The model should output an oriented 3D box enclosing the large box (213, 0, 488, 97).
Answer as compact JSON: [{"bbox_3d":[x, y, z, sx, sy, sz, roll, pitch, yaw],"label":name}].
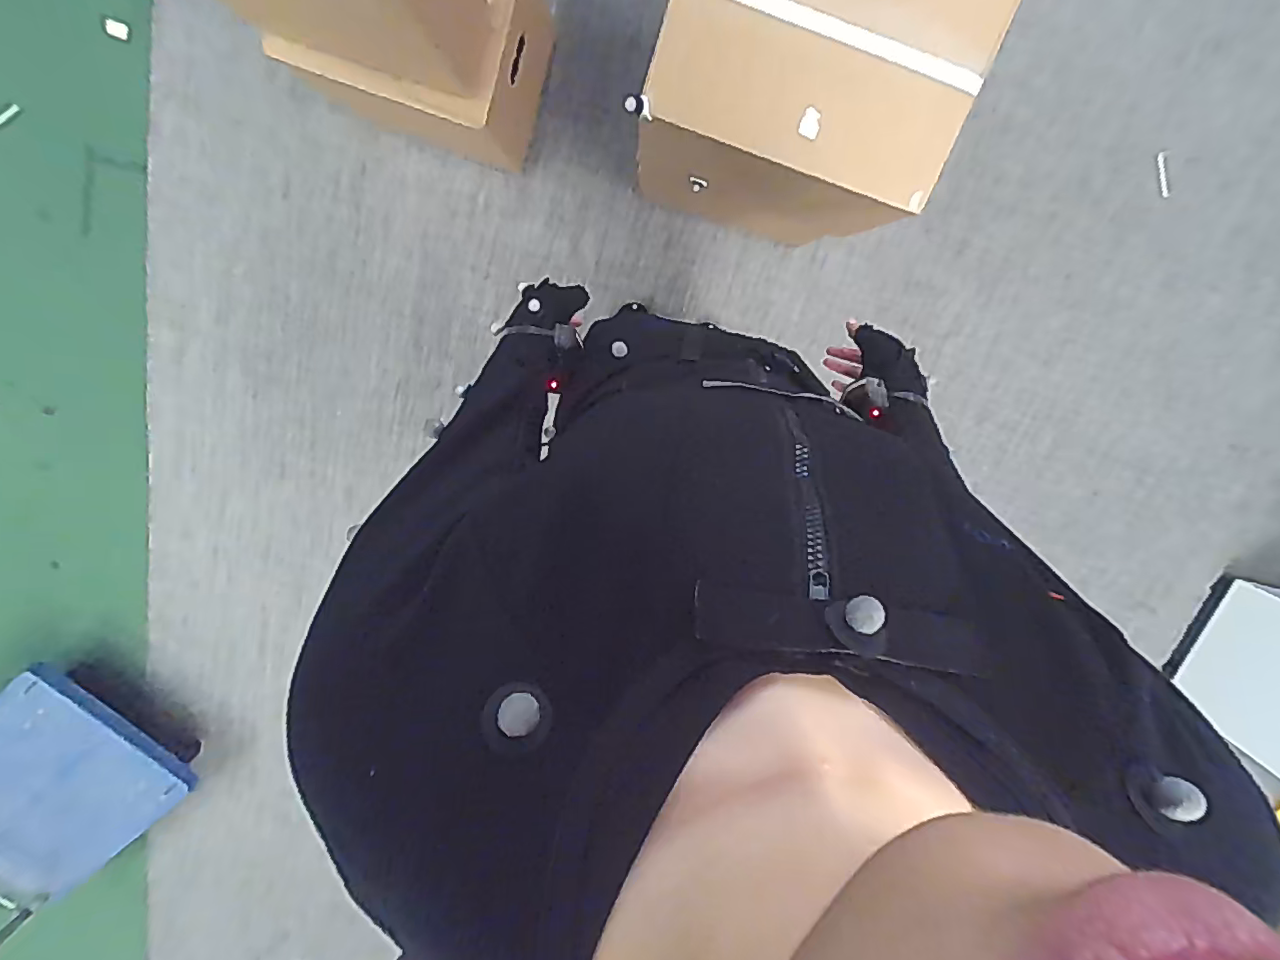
[{"bbox_3d":[-0.448,-0.831,0.765,0.408,0.320,0.320,16,104,-5],"label":"large box"}]
